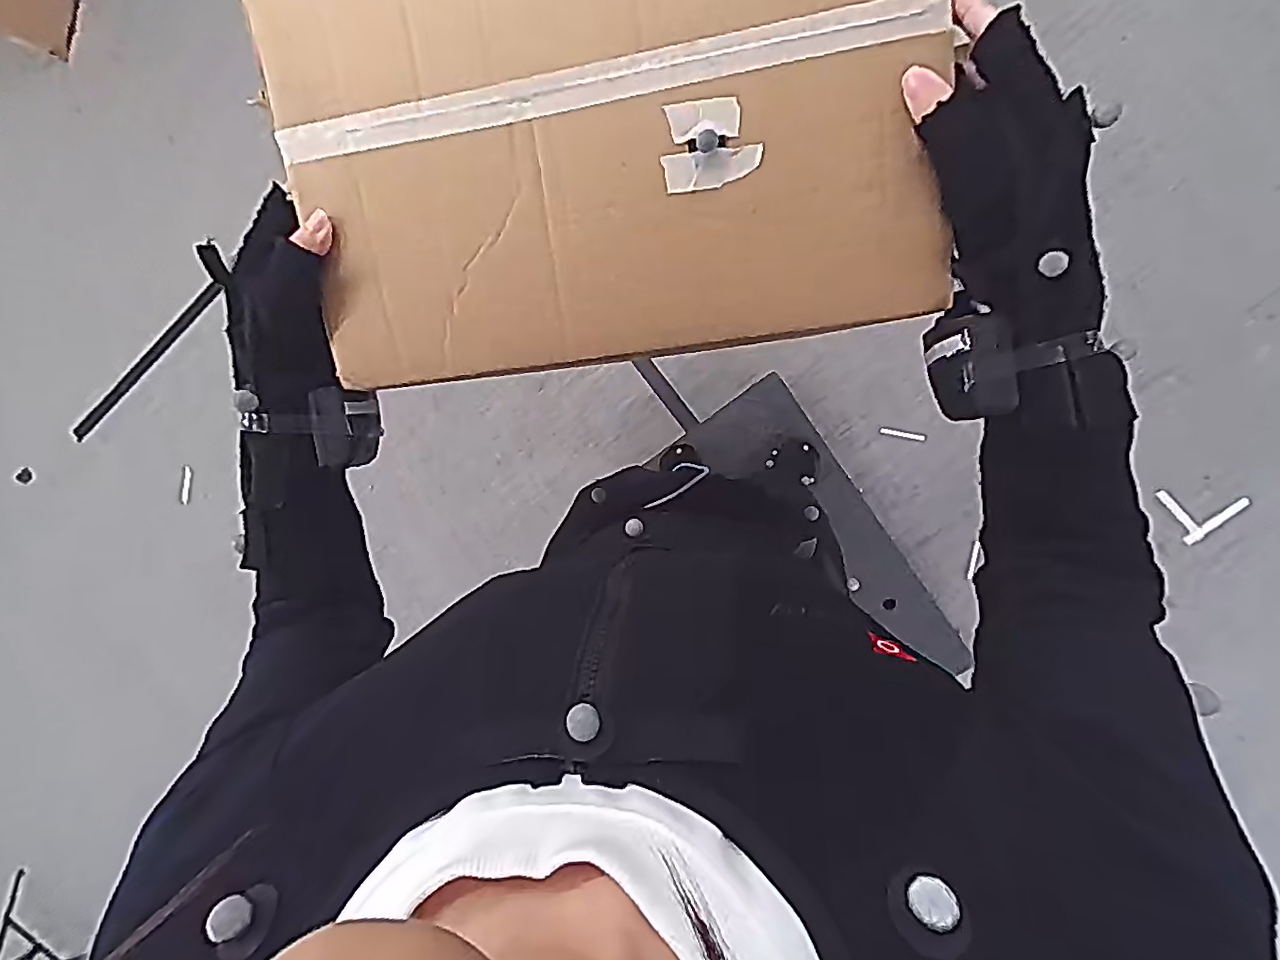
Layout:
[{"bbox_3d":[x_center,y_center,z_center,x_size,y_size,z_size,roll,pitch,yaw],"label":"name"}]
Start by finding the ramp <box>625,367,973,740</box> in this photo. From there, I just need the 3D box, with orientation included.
[{"bbox_3d":[0.446,0.236,1.480,0.509,0.206,0.991,-38,88,9],"label":"ramp"}]

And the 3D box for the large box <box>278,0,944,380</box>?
[{"bbox_3d":[-0.010,-0.276,0.480,0.408,0.320,0.320,-6,103,7],"label":"large box"}]
